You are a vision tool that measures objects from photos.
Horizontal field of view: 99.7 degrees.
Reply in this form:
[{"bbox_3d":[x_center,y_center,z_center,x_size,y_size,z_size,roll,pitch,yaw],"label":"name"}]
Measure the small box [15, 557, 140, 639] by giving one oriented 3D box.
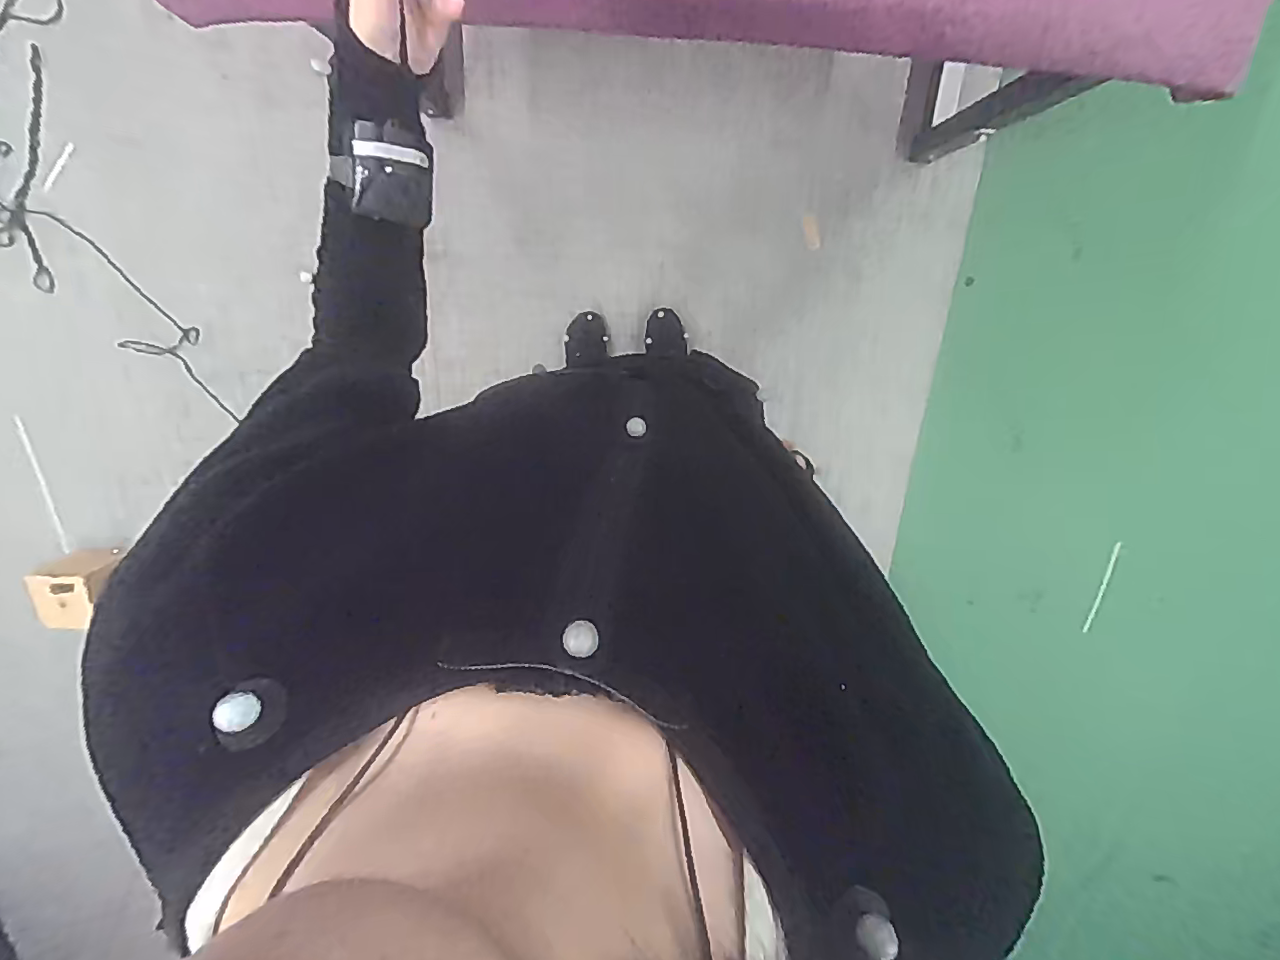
[{"bbox_3d":[-1.627,0.339,1.576,0.168,0.176,0.179,3,109,0],"label":"small box"}]
